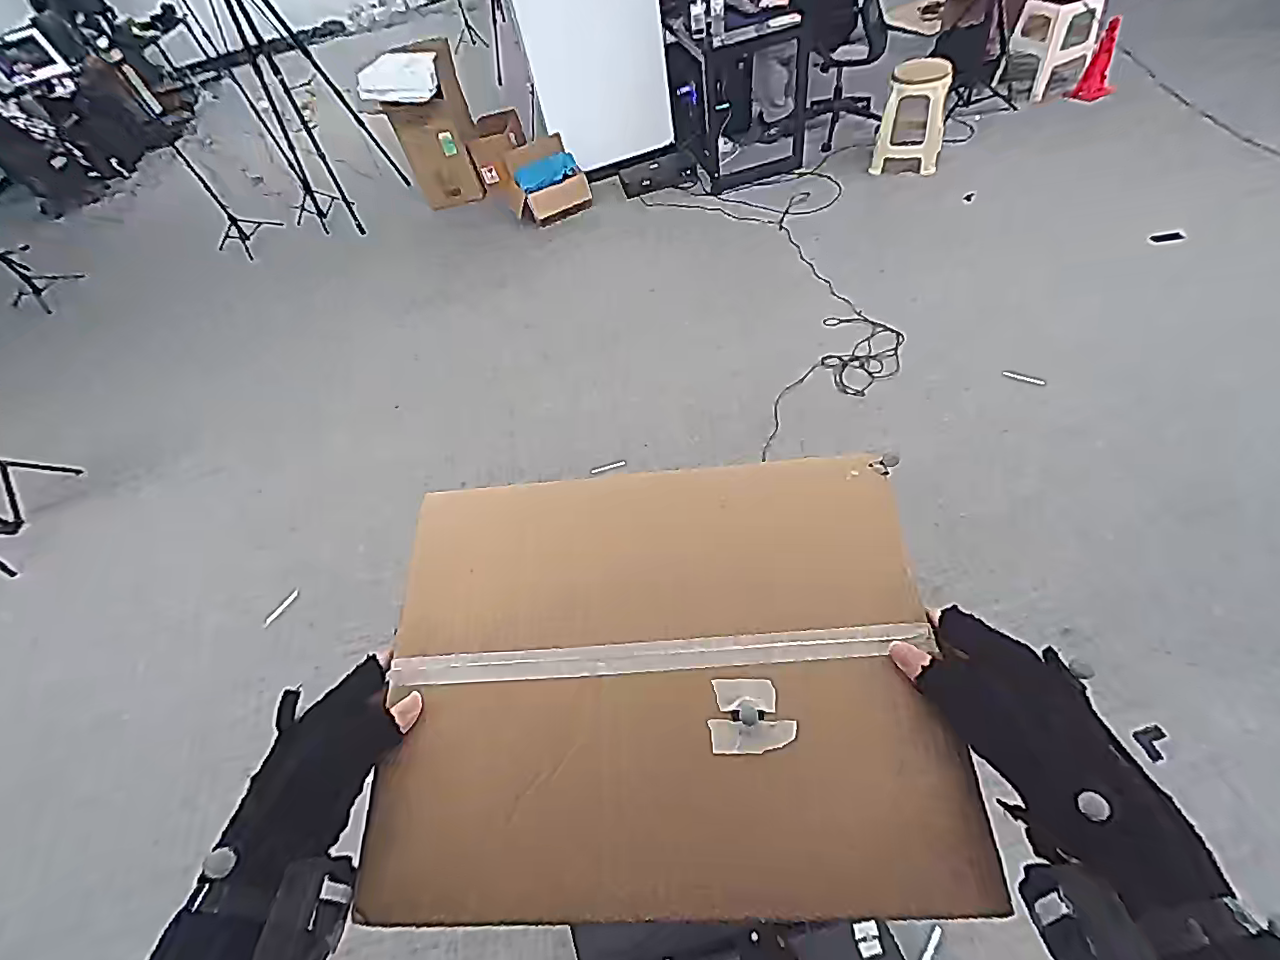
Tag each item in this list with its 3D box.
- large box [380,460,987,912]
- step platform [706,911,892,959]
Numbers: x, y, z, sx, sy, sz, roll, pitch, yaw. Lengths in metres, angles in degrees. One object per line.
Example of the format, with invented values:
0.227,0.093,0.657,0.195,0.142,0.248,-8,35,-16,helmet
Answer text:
0.029,0.206,0.548,0.408,0.320,0.320,-5,62,5,large box
0.198,1.110,1.057,0.684,0.204,0.286,-18,51,1,step platform
